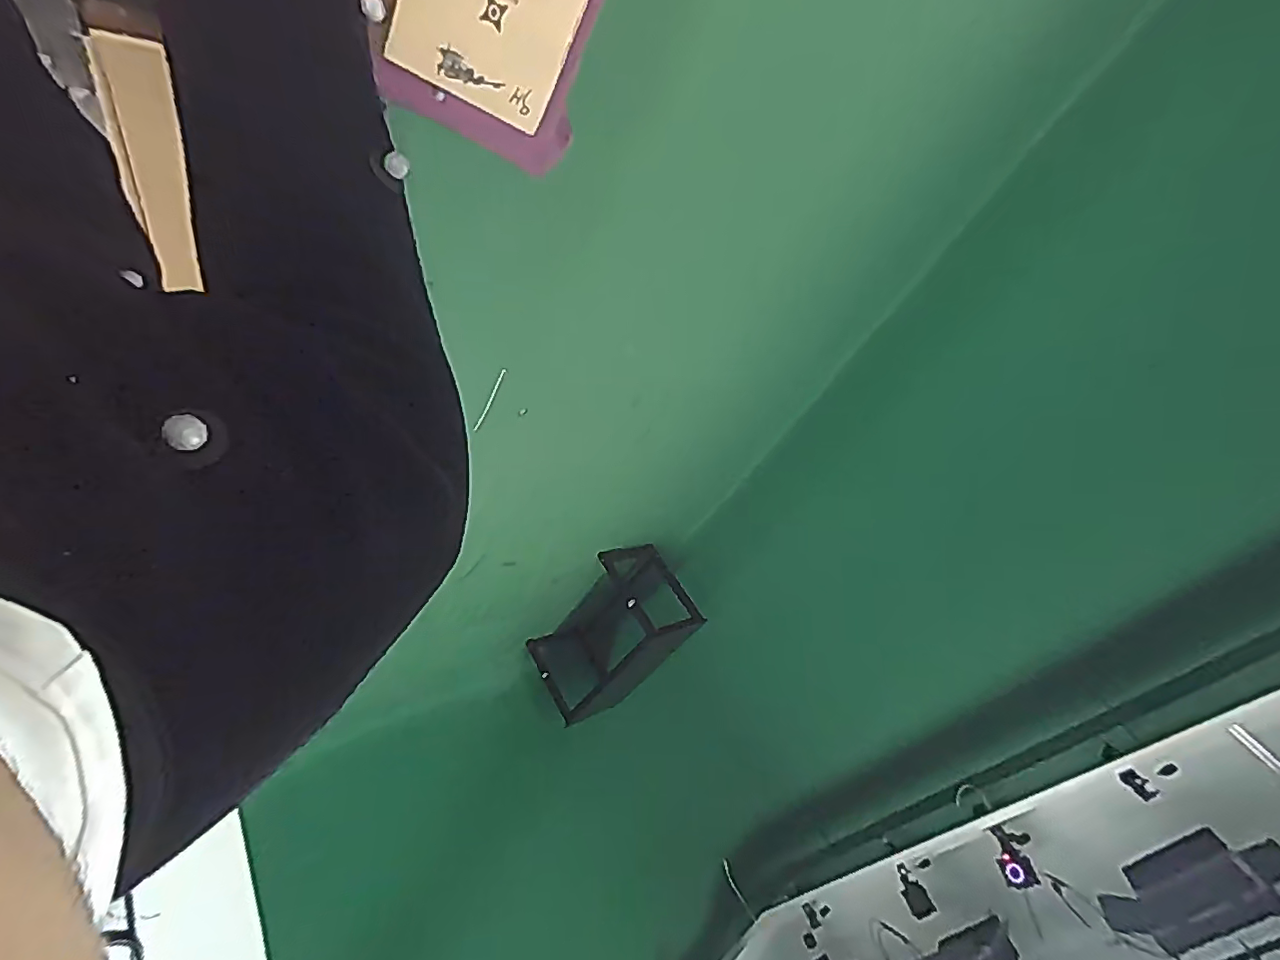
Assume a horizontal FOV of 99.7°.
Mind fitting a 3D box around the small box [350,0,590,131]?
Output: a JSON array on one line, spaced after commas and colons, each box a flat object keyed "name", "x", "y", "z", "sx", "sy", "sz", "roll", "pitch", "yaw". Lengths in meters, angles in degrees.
[{"name": "small box", "x": -0.169, "y": -0.501, "z": 0.536, "sx": 0.168, "sy": 0.176, "sz": 0.179, "roll": -1, "pitch": 134, "yaw": -46}]
